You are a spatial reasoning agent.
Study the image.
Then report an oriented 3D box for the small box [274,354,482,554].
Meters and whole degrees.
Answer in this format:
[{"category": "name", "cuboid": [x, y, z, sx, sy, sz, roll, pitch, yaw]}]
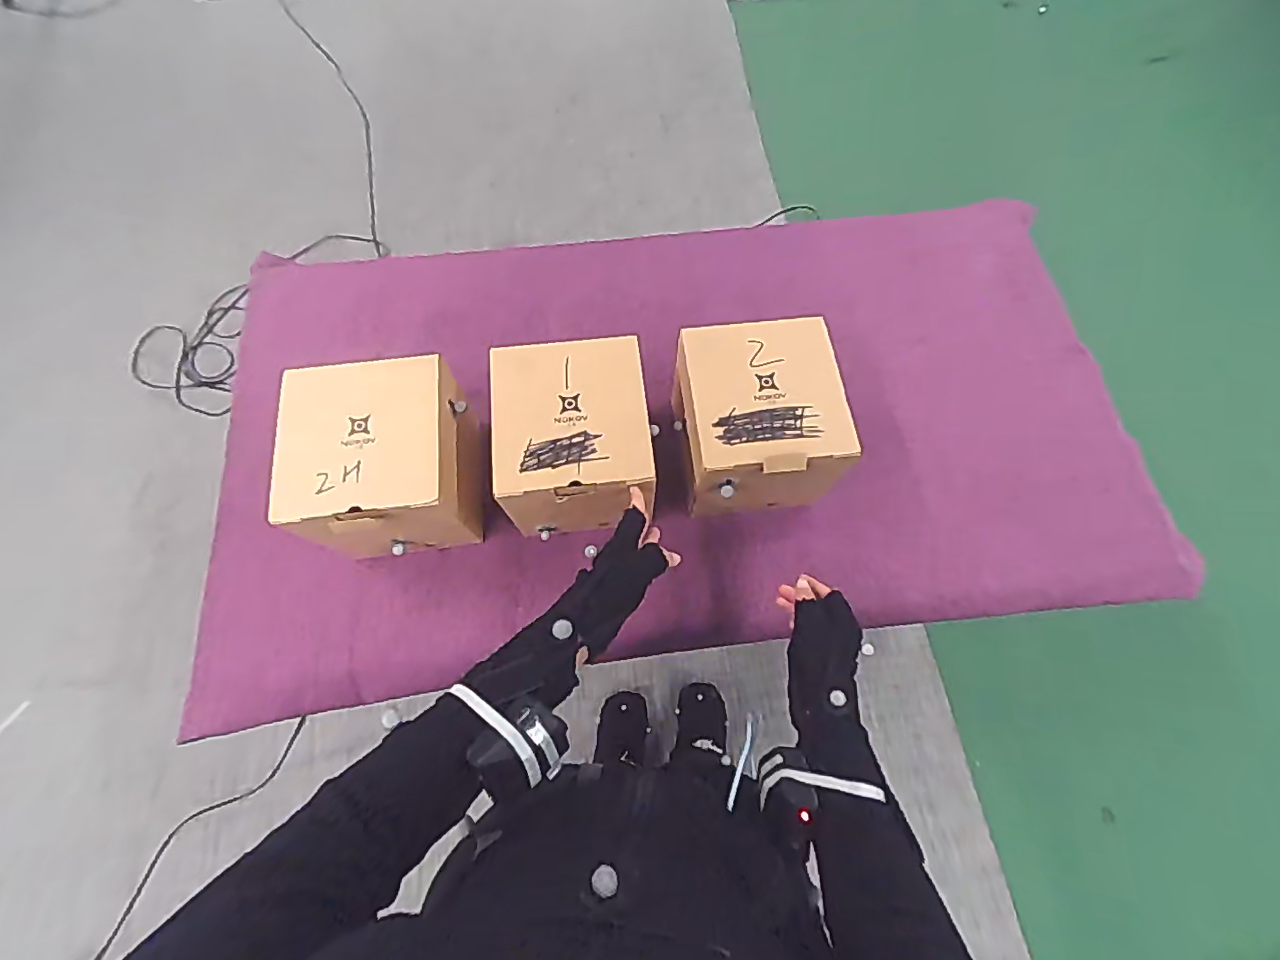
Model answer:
[{"category": "small box", "cuboid": [-0.289, -0.023, 0.637, 0.168, 0.176, 0.179, -7, 71, -3]}]
